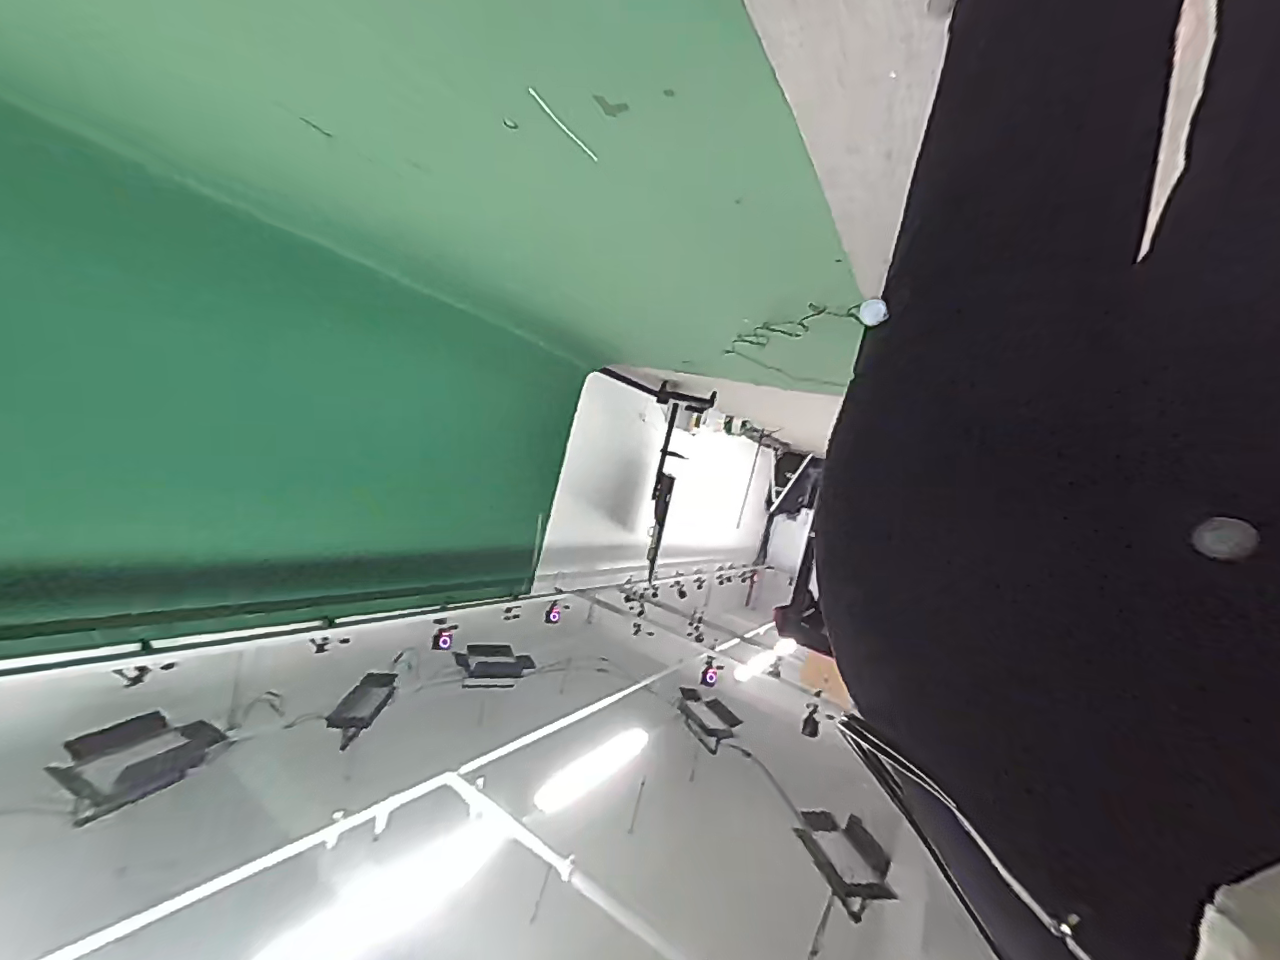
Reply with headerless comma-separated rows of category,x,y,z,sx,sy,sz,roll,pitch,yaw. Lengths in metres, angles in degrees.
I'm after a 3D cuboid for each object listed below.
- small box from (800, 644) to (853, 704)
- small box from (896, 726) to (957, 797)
small box,0.803,0.824,2.311,0.179,0.176,0.168,15,-179,27
small box,1.123,1.082,2.107,0.179,0.176,0.168,18,-176,33
